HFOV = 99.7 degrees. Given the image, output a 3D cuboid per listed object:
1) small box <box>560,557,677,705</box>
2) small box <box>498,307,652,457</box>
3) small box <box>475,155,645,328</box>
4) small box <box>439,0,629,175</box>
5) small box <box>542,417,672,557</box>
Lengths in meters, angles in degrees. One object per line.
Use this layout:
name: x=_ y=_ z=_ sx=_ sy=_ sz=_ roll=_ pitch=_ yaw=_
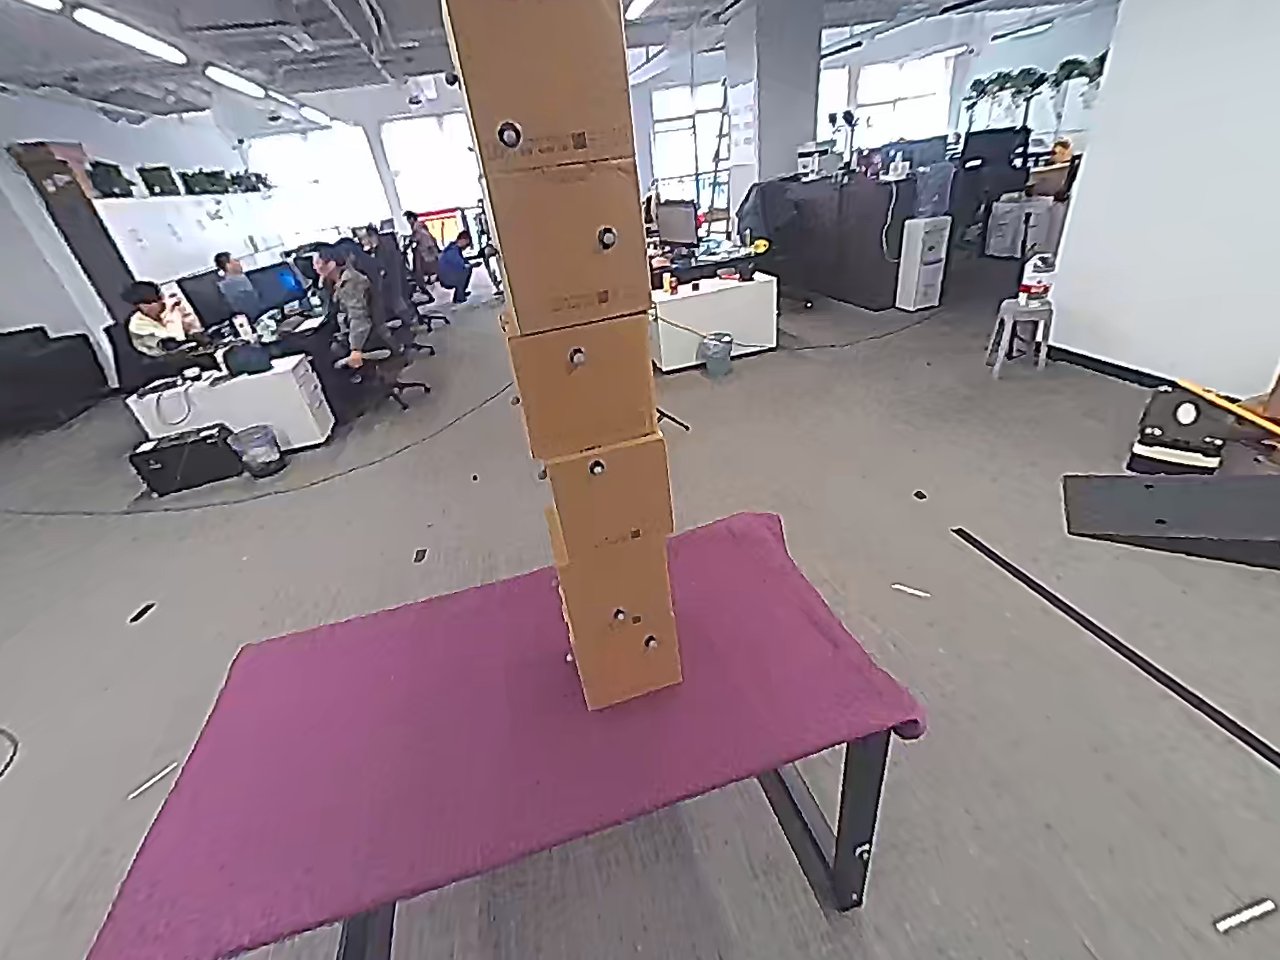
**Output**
small box: x=-0.037 y=0.274 z=0.989 sx=0.179 sy=0.176 sz=0.168 roll=-15 pitch=30 yaw=-10
small box: x=-0.088 y=-0.153 z=0.755 sx=0.179 sy=0.176 sz=0.168 roll=-15 pitch=31 yaw=-11
small box: x=-0.100 y=-0.296 z=0.677 sx=0.168 sy=0.176 sz=0.179 roll=-14 pitch=30 yaw=-13
small box: x=-0.117 y=-0.441 z=0.602 sx=0.168 sy=0.176 sz=0.179 roll=-14 pitch=30 yaw=-11
small box: x=-0.058 y=-0.010 z=0.828 sx=0.168 sy=0.176 sz=0.179 roll=-14 pitch=31 yaw=-10
